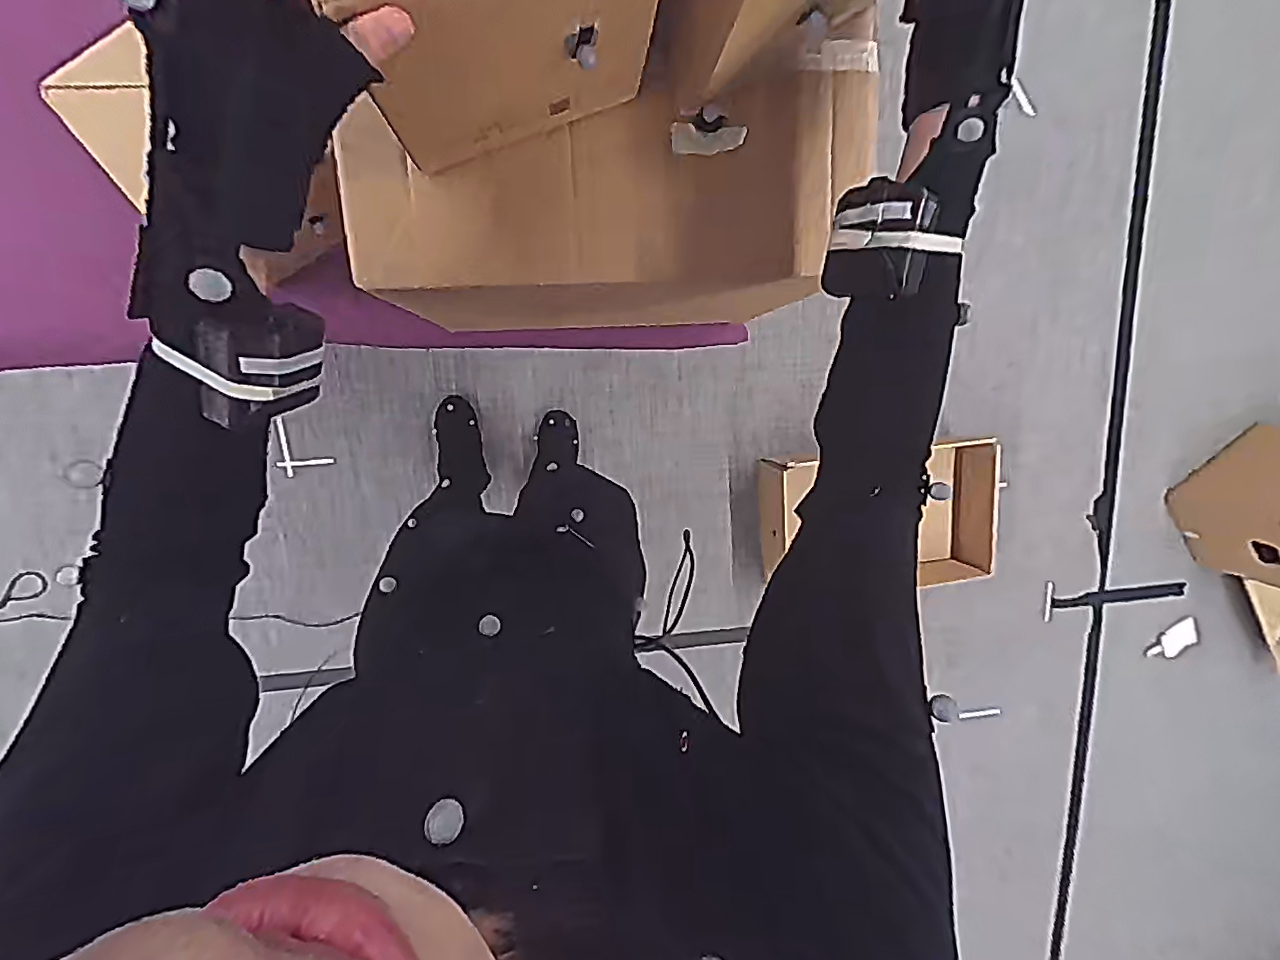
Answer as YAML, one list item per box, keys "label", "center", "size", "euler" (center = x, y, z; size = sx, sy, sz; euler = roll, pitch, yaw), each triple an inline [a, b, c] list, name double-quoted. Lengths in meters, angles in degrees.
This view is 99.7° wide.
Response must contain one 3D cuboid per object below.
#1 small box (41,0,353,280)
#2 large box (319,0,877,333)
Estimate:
- label: "small box"
  center: [-0.405, -0.333, 0.547]
  size: [0.179, 0.176, 0.168]
  euler: [-34, 102, 0]
- label: "large box"
  center: [-0.038, -0.330, 0.535]
  size: [0.408, 0.320, 0.320]
  euler: [-4, 100, -7]
